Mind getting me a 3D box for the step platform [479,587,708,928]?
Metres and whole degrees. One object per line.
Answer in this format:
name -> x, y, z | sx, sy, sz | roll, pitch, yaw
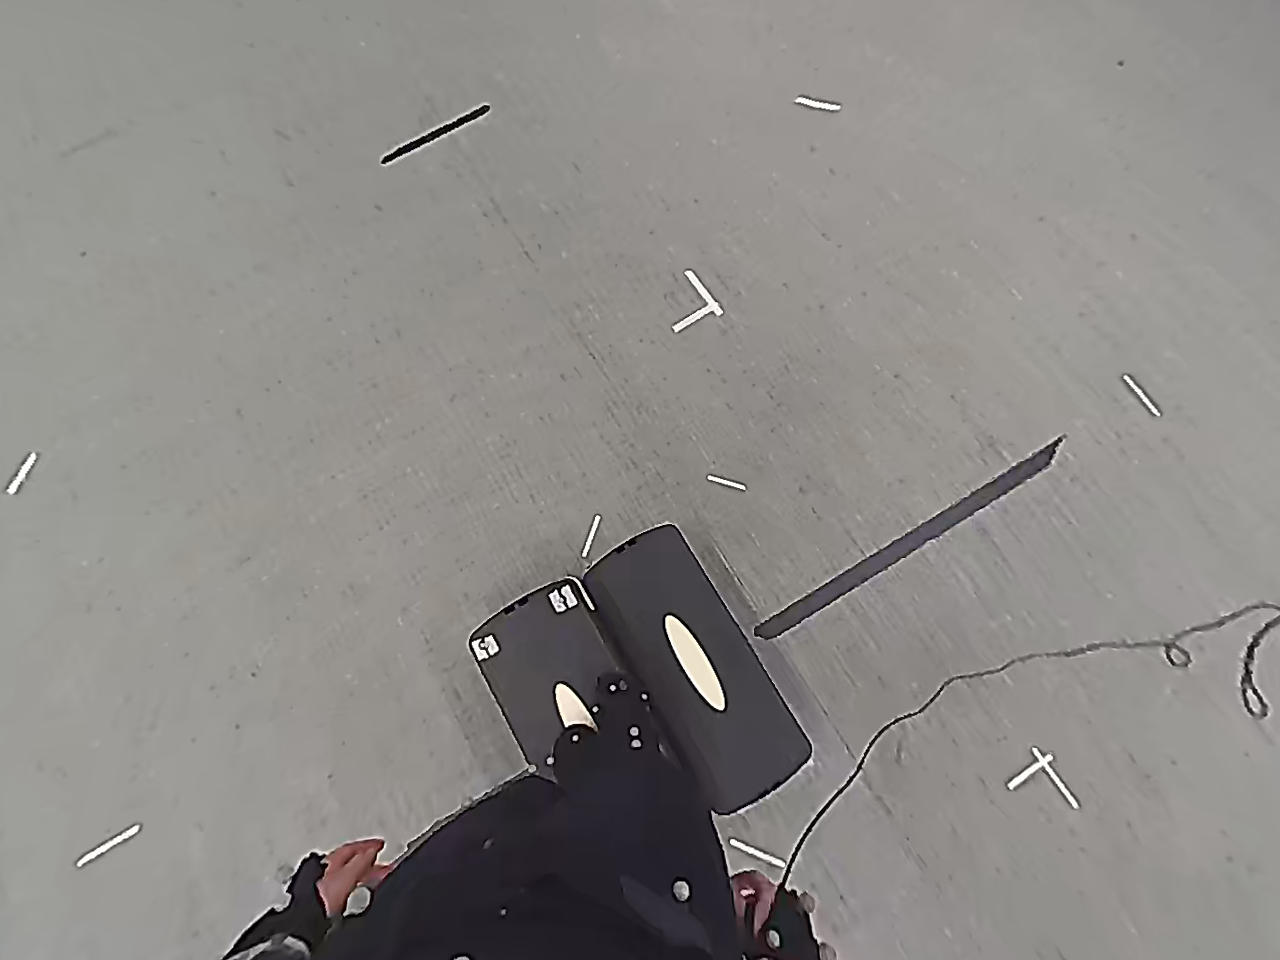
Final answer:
step platform -> -0.114, 0.599, 1.248 | 0.286, 0.204, 0.684 | -26, 76, -7
